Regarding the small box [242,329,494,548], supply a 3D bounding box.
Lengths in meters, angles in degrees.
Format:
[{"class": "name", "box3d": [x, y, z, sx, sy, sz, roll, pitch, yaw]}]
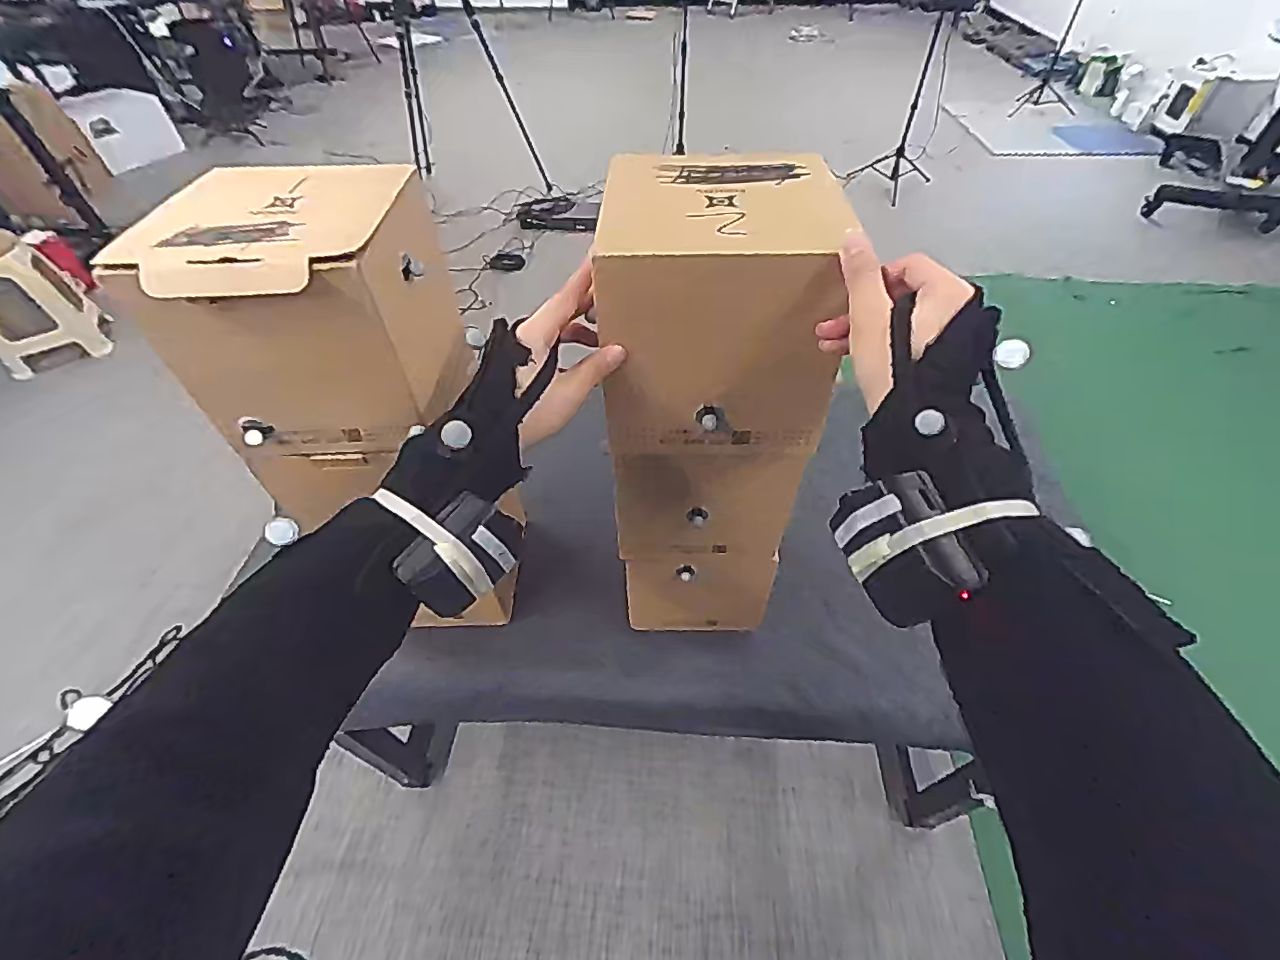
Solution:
[{"class": "small box", "box3d": [-0.260, -0.040, 0.574, 0.168, 0.176, 0.179, -1, 48, -2]}]

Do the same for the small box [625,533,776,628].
[{"class": "small box", "box3d": [0.066, 0.069, 0.693, 0.168, 0.176, 0.179, 0, 48, 1]}]

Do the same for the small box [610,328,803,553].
[{"class": "small box", "box3d": [0.059, -0.038, 0.567, 0.168, 0.176, 0.179, 1, 49, 0]}]

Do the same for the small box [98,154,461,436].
[{"class": "small box", "box3d": [-0.259, -0.149, 0.450, 0.168, 0.176, 0.179, -2, 48, -3]}]

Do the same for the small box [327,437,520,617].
[{"class": "small box", "box3d": [-0.258, 0.065, 0.698, 0.168, 0.176, 0.179, -1, 49, 0]}]
